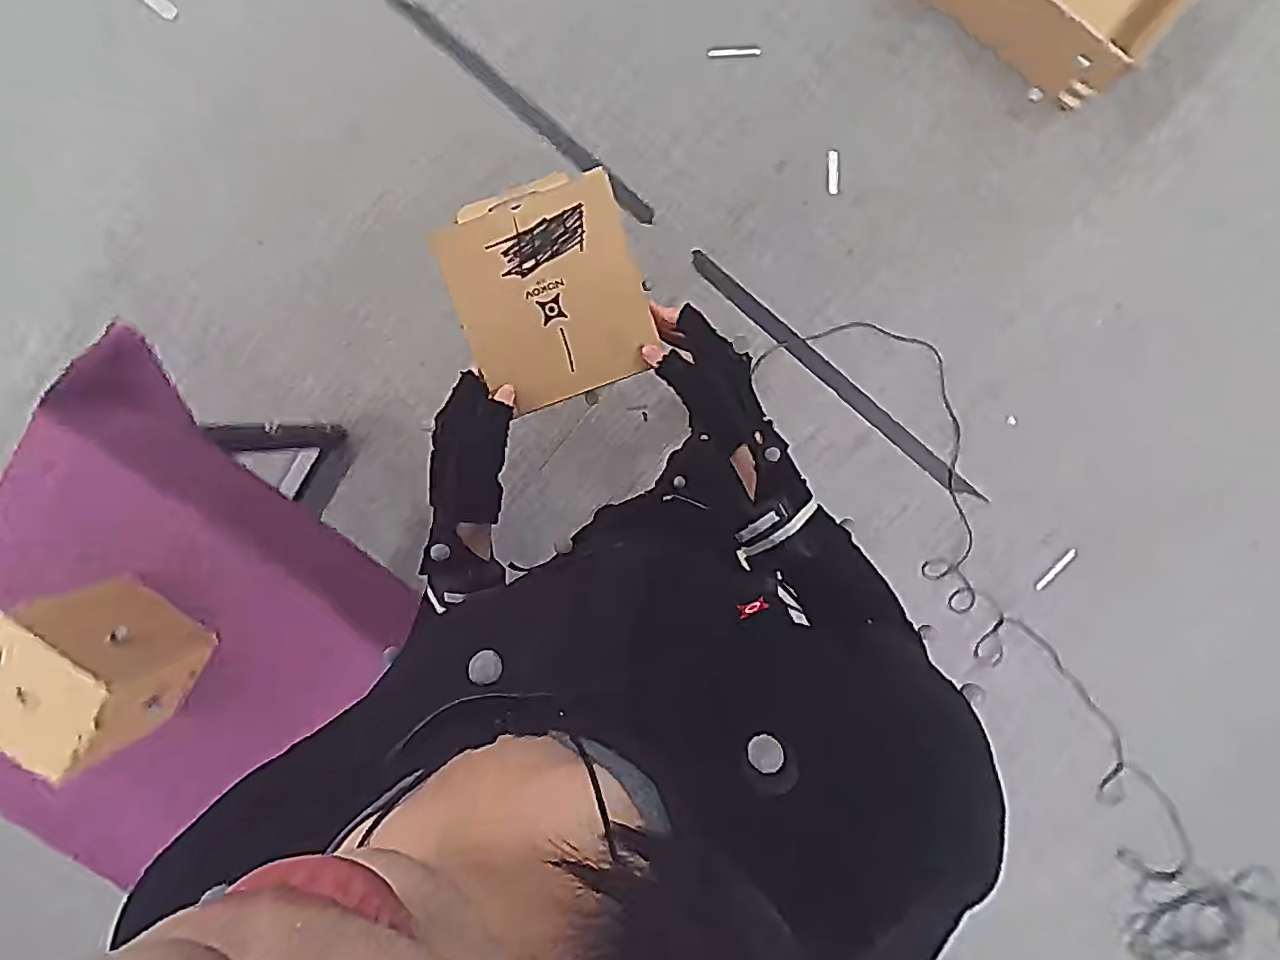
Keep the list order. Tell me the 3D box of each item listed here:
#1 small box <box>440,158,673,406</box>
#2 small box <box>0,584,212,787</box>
[{"bbox_3d":[-0.073,-0.185,0.555,0.168,0.176,0.179,-18,101,3],"label":"small box"},{"bbox_3d":[-0.768,0.272,0.760,0.179,0.176,0.168,35,96,-2],"label":"small box"}]
